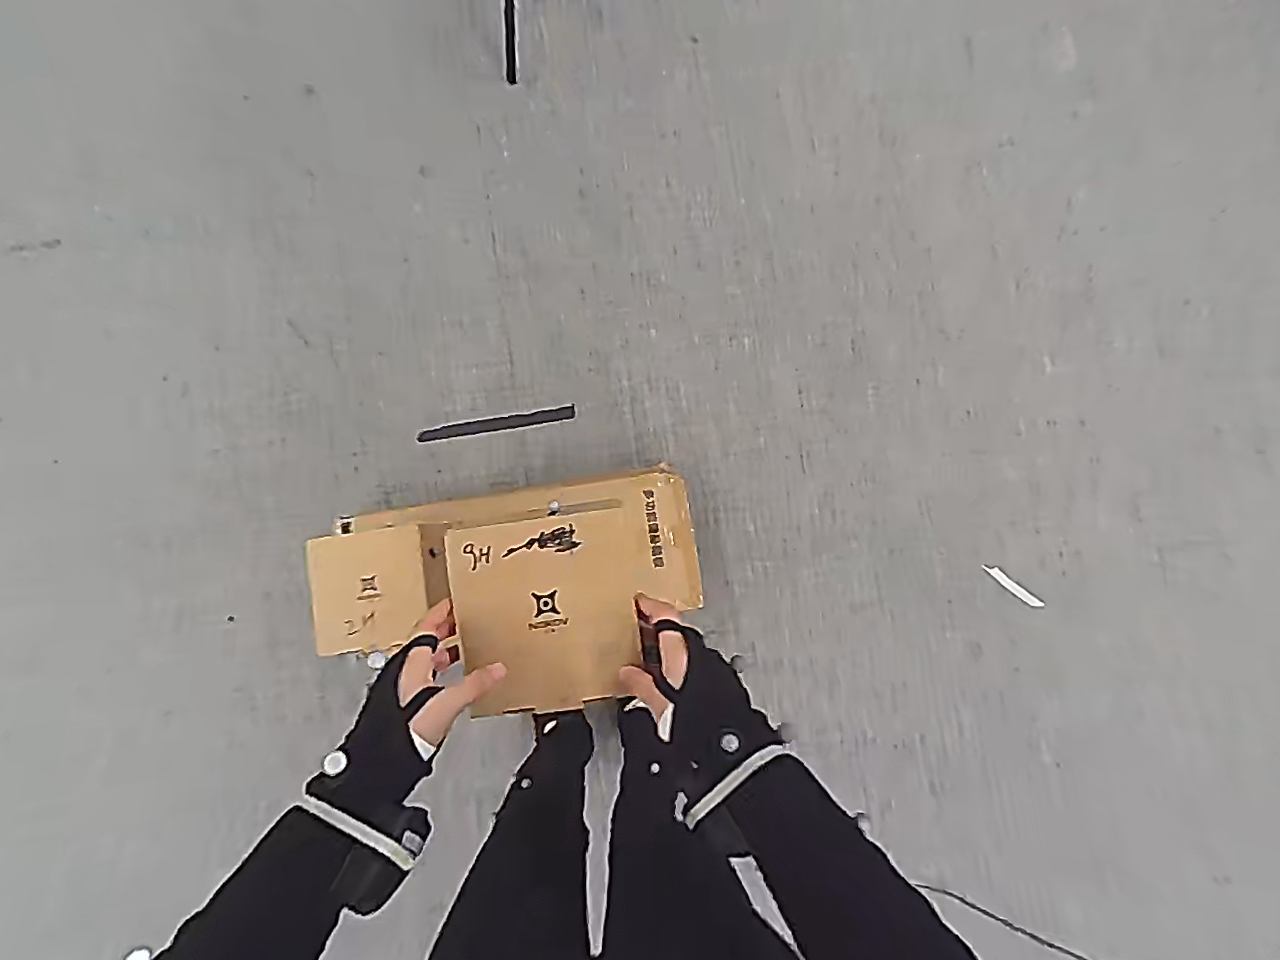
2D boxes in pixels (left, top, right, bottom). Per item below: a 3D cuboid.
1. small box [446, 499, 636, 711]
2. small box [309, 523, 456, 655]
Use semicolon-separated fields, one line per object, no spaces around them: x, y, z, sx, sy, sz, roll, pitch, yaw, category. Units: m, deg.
-0.093;0.121;0.588;0.168;0.176;0.179;-7;92;-2;small box
-0.402;0.167;0.876;0.168;0.176;0.179;-8;87;-2;small box
